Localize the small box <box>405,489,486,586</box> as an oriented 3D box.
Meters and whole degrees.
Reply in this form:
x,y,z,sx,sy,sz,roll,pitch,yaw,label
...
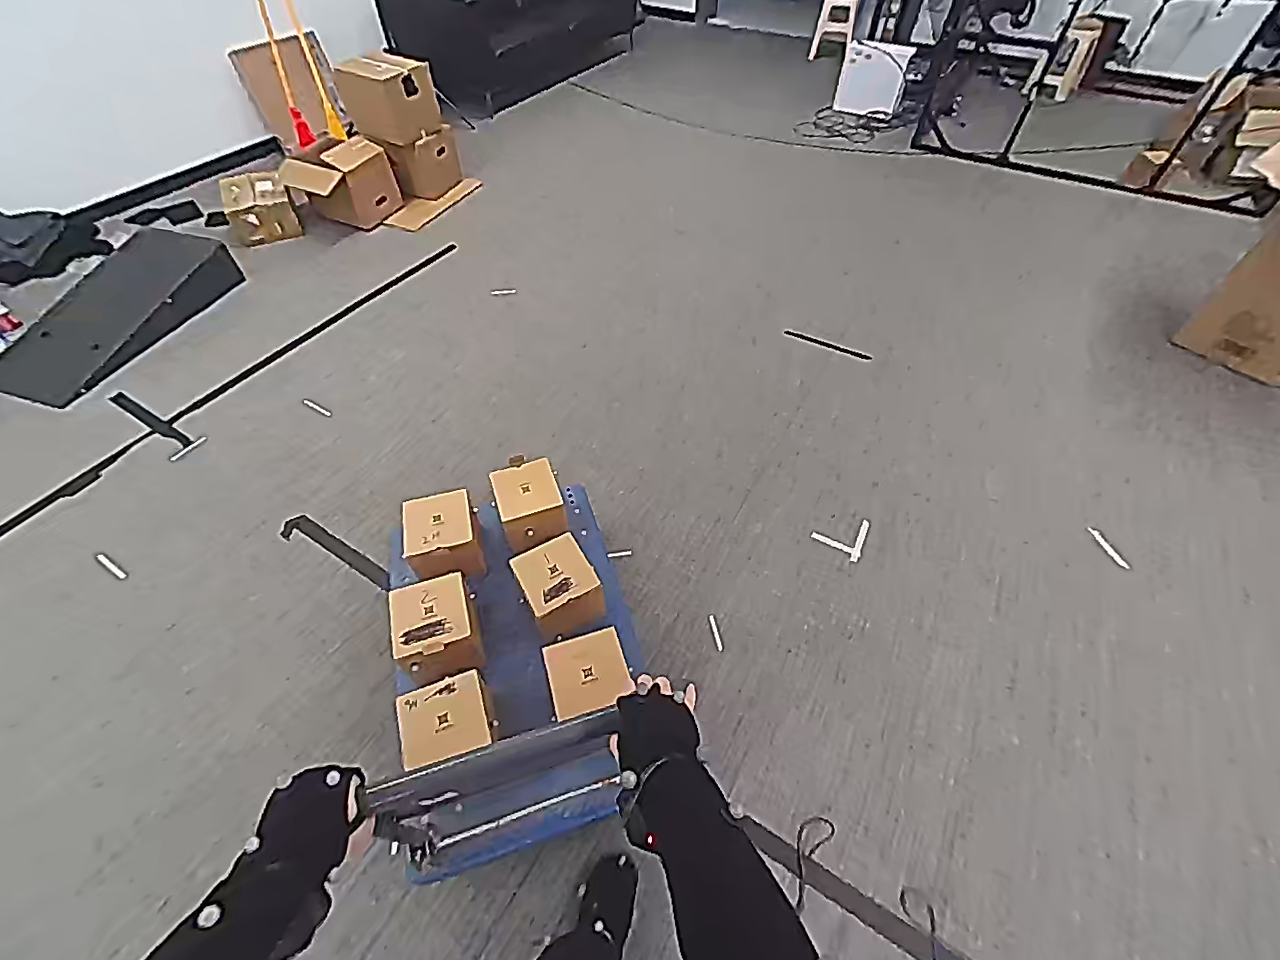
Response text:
x,y,z,sx,sy,sz,roll,pitch,yaw,label
-0.516,0.153,1.436,0.168,0.176,0.179,-13,53,-11,small box

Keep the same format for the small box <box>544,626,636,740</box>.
x,y,z,sx,sy,sz,roll,pitch,yaw,label
-0.109,0.457,1.202,0.168,0.176,0.179,-13,52,-13,small box

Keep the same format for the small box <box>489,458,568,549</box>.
x,y,z,sx,sy,sz,roll,pitch,yaw,label
-0.307,0.072,1.509,0.168,0.176,0.179,-17,53,-14,small box

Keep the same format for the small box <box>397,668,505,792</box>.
x,y,z,sx,sy,sz,roll,pitch,yaw,label
-0.390,0.530,1.133,0.168,0.176,0.179,-16,53,-15,small box

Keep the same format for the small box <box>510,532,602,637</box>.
x,y,z,sx,sy,sz,roll,pitch,yaw,label
-0.205,0.269,1.351,0.168,0.176,0.179,-24,54,-20,small box
